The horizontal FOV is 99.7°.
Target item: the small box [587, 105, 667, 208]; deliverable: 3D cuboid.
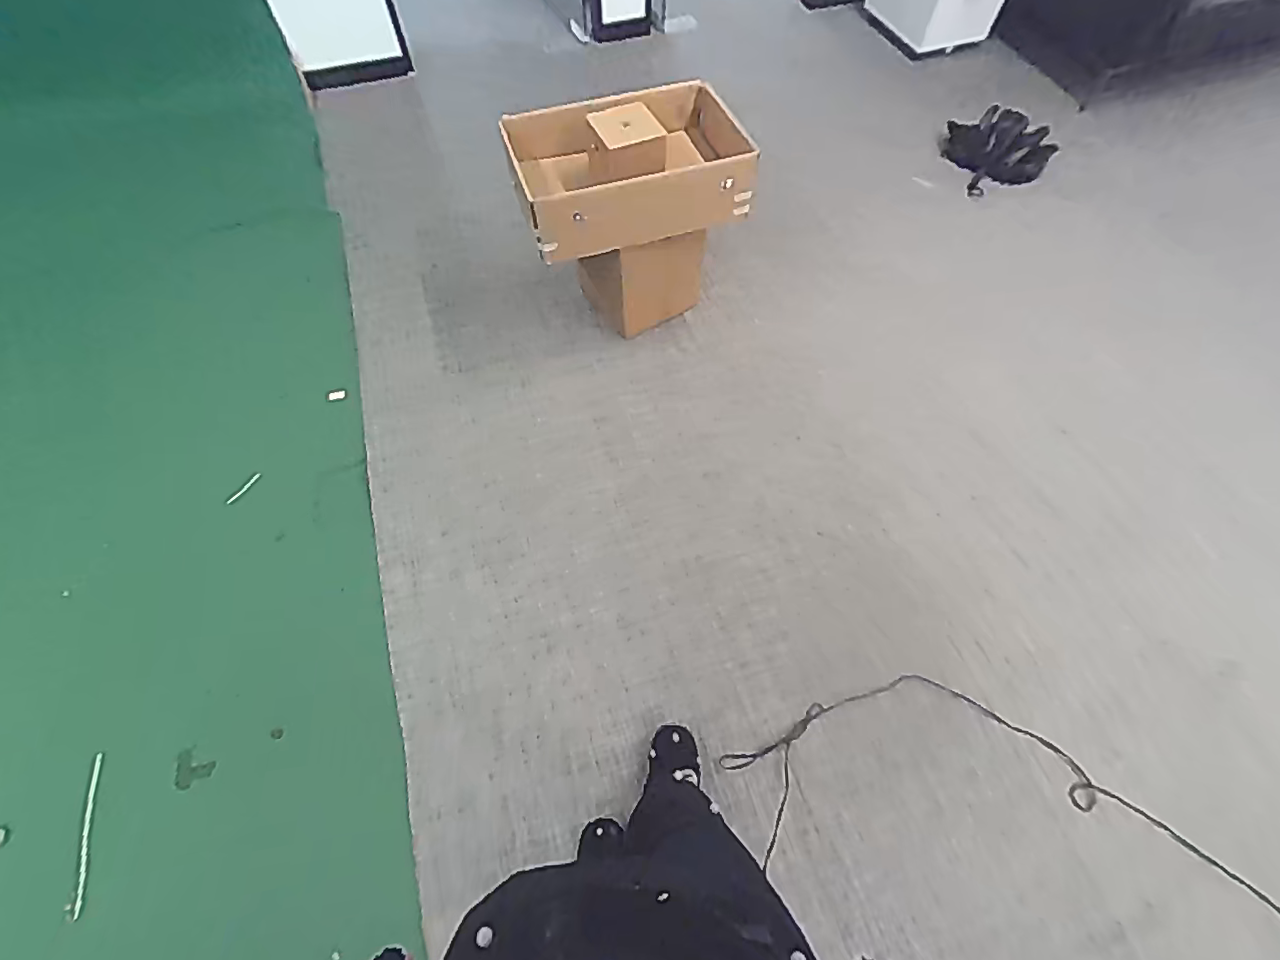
[{"bbox_3d":[-0.037,-0.887,1.489,0.168,0.176,0.179,-21,64,-10],"label":"small box"}]
